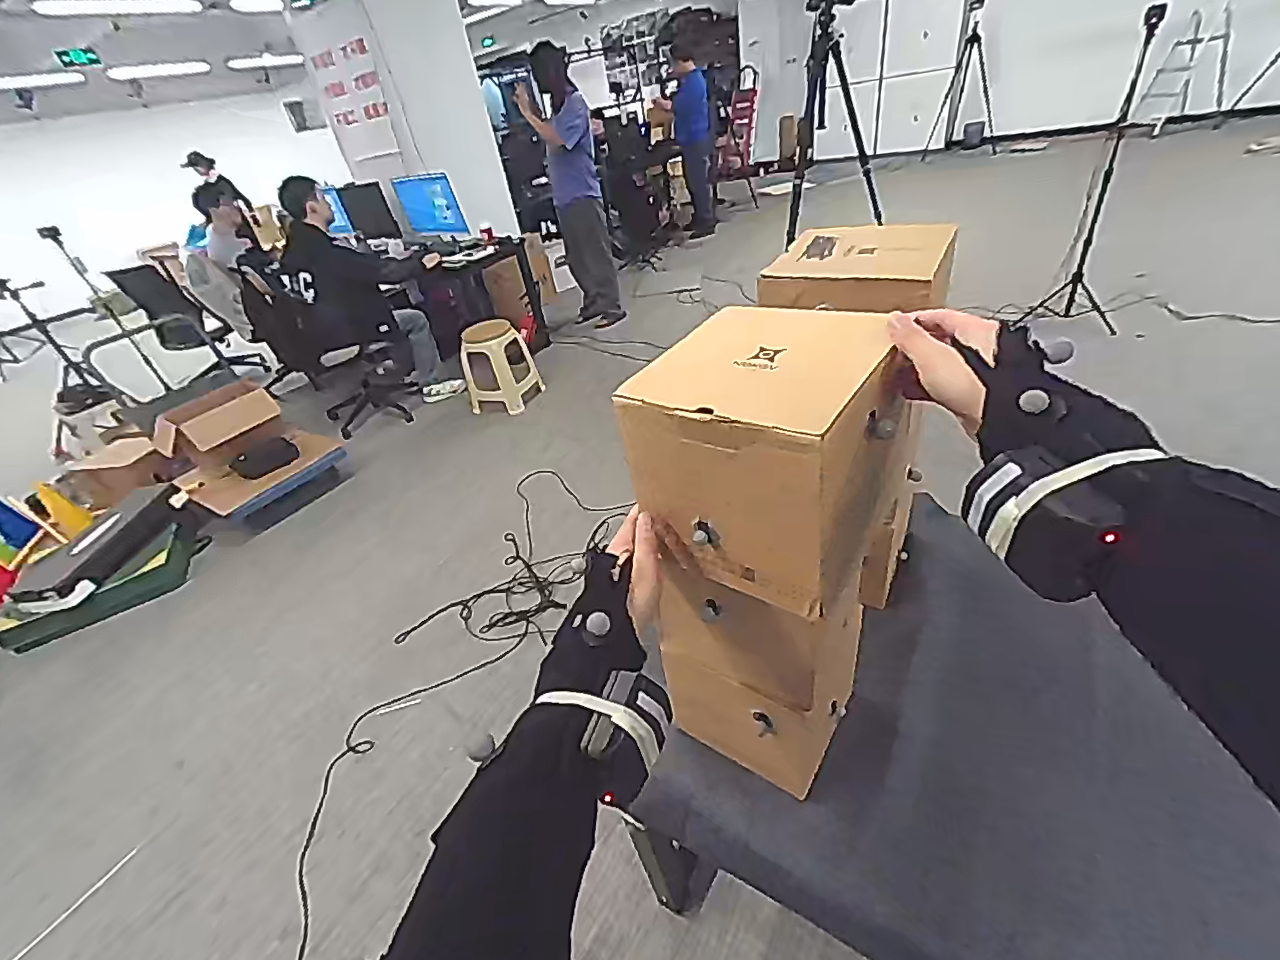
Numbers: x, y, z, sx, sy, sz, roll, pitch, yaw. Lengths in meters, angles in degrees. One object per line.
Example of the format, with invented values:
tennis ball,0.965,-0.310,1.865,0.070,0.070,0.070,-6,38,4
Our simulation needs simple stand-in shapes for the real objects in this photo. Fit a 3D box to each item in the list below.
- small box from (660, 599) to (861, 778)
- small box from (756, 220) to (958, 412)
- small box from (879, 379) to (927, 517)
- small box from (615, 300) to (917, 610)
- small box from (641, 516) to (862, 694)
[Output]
small box,0.148,0.225,0.660,0.179,0.176,0.168,17,42,33
small box,0.253,-0.193,0.644,0.179,0.176,0.168,14,46,30
small box,0.283,-0.071,0.750,0.179,0.176,0.168,13,45,28
small box,0.107,-0.030,0.447,0.168,0.176,0.179,17,47,36
small box,0.124,0.090,0.570,0.179,0.176,0.168,14,42,30
